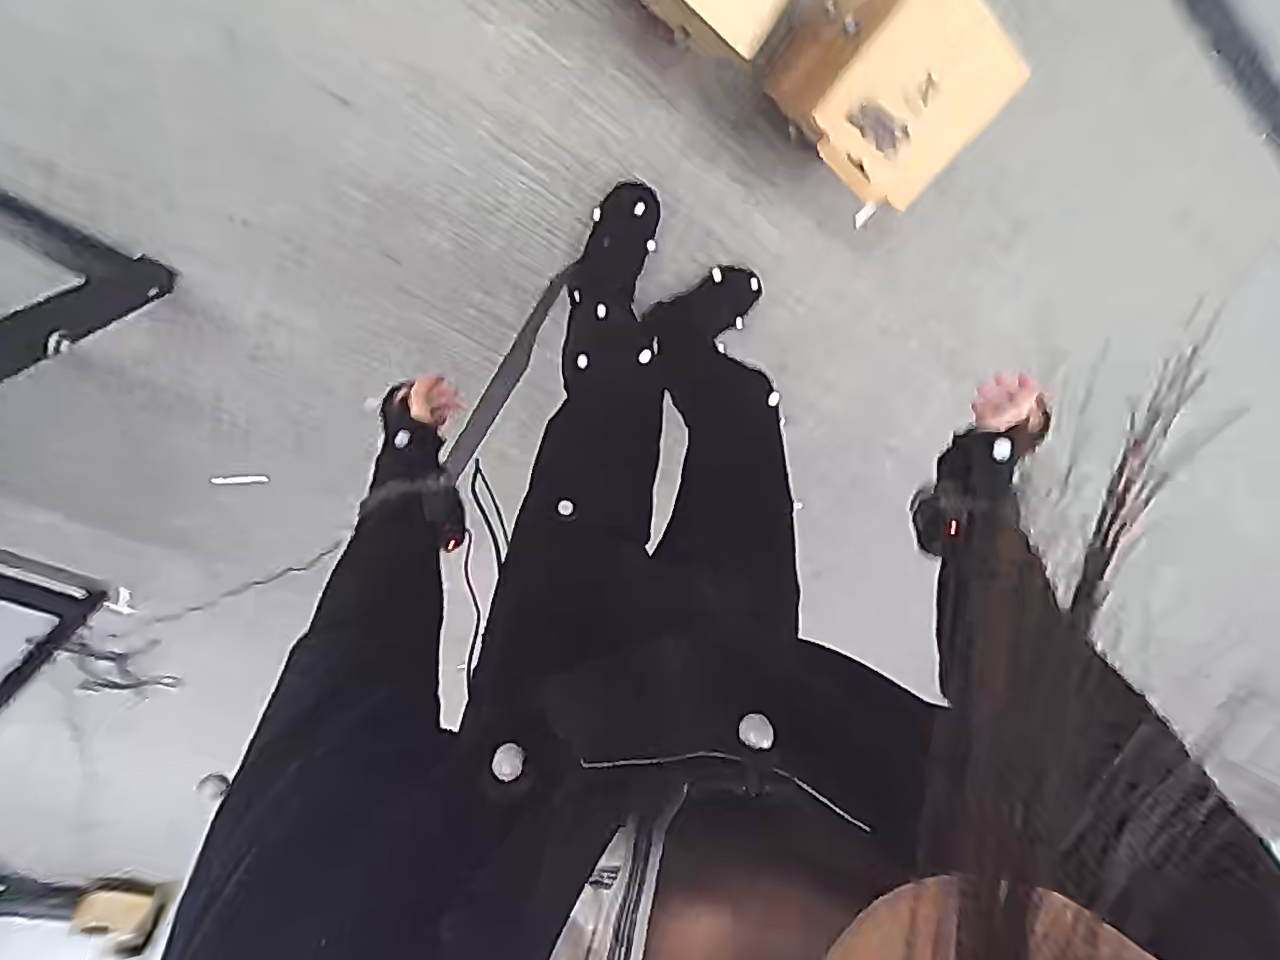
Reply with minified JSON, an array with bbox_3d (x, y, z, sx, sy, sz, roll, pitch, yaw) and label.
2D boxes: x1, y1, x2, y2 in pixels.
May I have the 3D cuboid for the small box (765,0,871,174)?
[{"bbox_3d":[0.310,-0.575,0.788,0.179,0.176,0.168,32,122,-25],"label":"small box"}]

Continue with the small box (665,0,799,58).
[{"bbox_3d":[0.070,-0.484,0.436,0.179,0.176,0.168,27,123,-23],"label":"small box"}]

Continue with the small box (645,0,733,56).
[{"bbox_3d":[0.066,-0.586,0.565,0.179,0.176,0.168,27,123,-23],"label":"small box"}]

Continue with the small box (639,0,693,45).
[{"bbox_3d":[0.064,-0.695,0.686,0.168,0.176,0.179,26,122,-22],"label":"small box"}]

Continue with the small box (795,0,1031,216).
[{"bbox_3d":[0.312,-0.467,0.662,0.168,0.176,0.179,31,121,-23],"label":"small box"}]
